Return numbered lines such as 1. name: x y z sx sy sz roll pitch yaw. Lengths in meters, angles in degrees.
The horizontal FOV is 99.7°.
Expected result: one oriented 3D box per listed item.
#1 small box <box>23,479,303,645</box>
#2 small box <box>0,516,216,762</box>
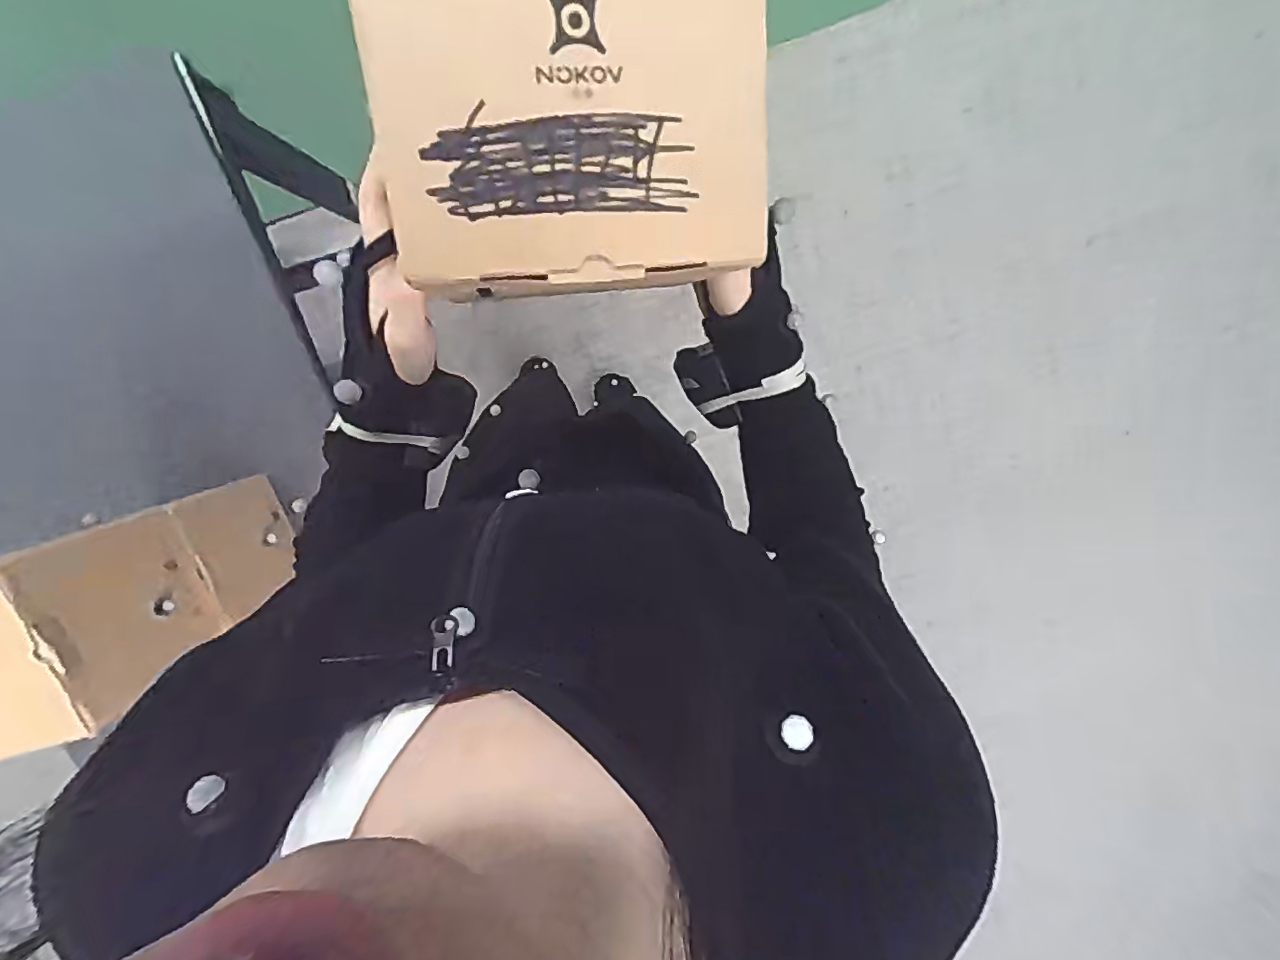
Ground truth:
1. small box: -0.582 0.113 0.686 0.179 0.176 0.168 -17 104 2
2. small box: -0.582 0.152 0.529 0.179 0.176 0.168 -17 103 2
